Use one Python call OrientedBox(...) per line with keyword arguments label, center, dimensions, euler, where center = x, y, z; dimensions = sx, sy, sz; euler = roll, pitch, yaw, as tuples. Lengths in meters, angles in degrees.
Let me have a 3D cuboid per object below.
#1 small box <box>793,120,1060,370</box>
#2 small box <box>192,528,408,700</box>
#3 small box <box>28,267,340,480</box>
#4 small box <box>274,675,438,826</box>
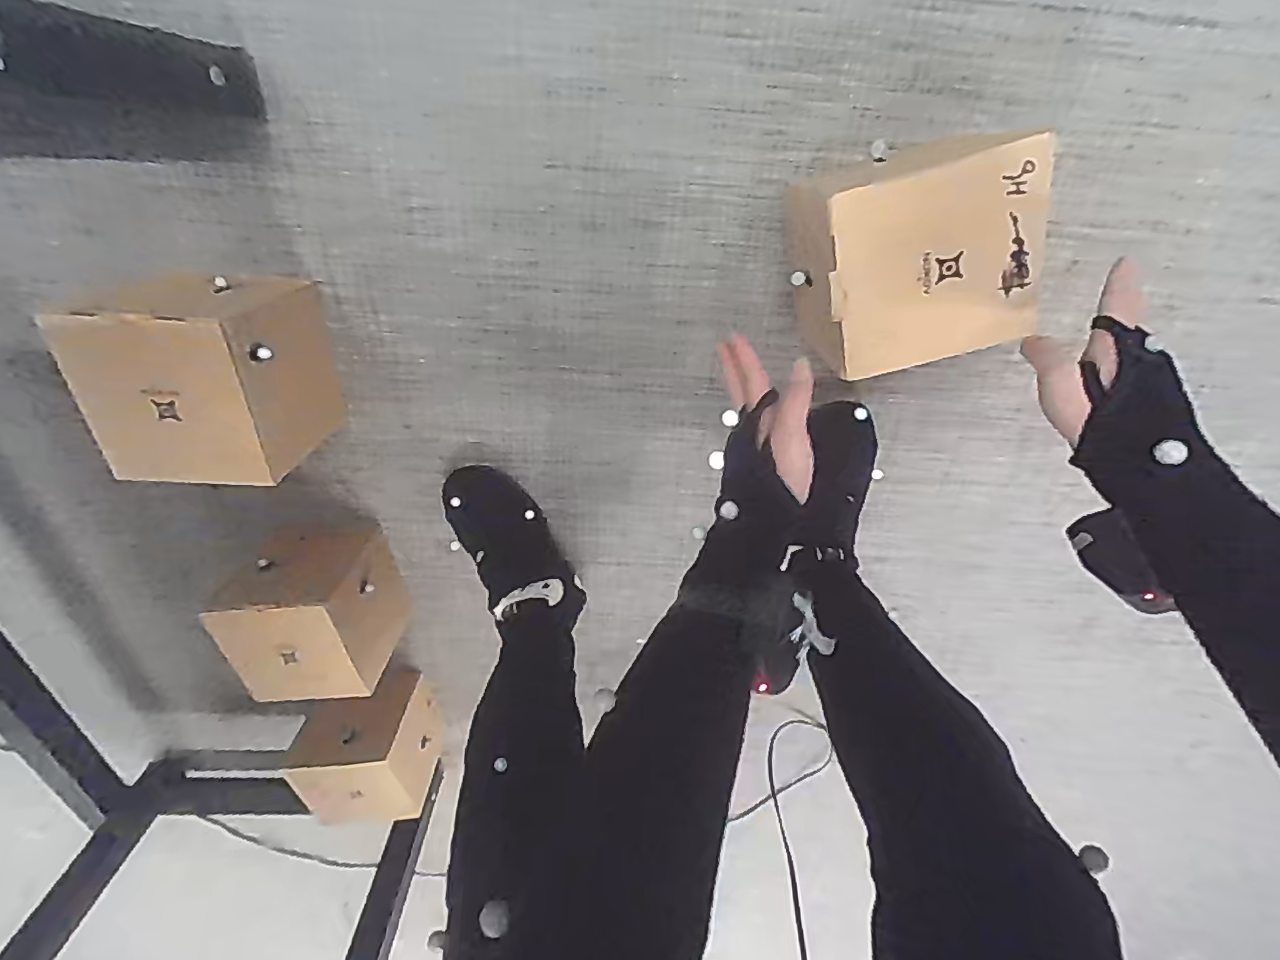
OrientedBox(label="small box", center=(0.255, -0.228, 0.528), dimensions=(0.179, 0.176, 0.168), euler=(-13, 120, 8))
OrientedBox(label="small box", center=(-0.453, 0.178, 0.756), dimensions=(0.168, 0.176, 0.179), euler=(-3, 121, 2))
OrientedBox(label="small box", center=(-0.454, -0.119, 0.581), dimensions=(0.168, 0.176, 0.179), euler=(3, 120, -2))
OrientedBox(label="small box", center=(-0.460, 0.452, 0.917), dimensions=(0.179, 0.176, 0.168), euler=(-5, 120, 2))
